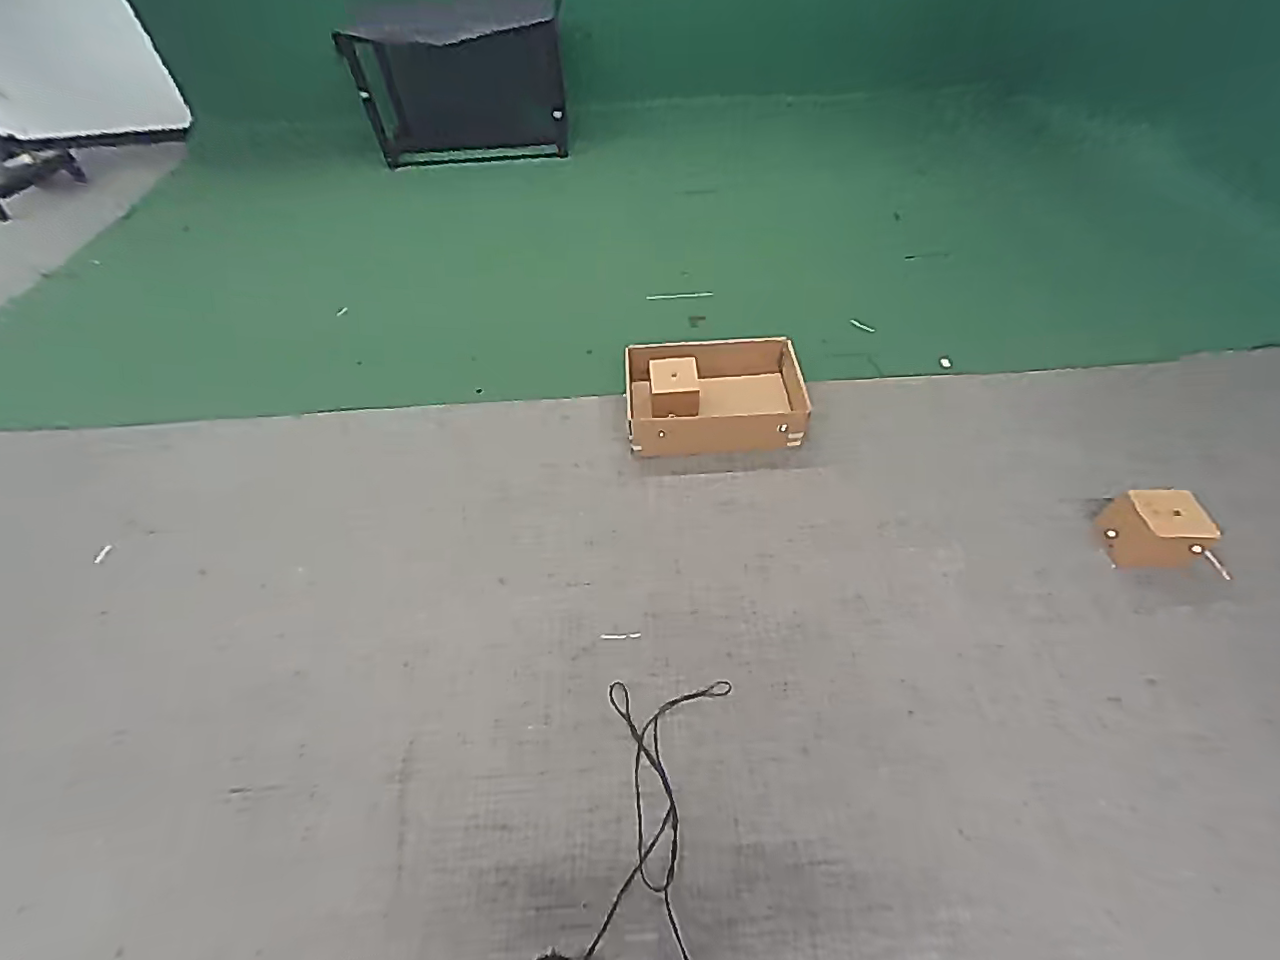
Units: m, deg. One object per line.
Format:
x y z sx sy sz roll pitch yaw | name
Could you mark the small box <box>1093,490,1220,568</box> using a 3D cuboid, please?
1.488 0.145 1.574 0.179 0.176 0.168 1 51 4 | small box
